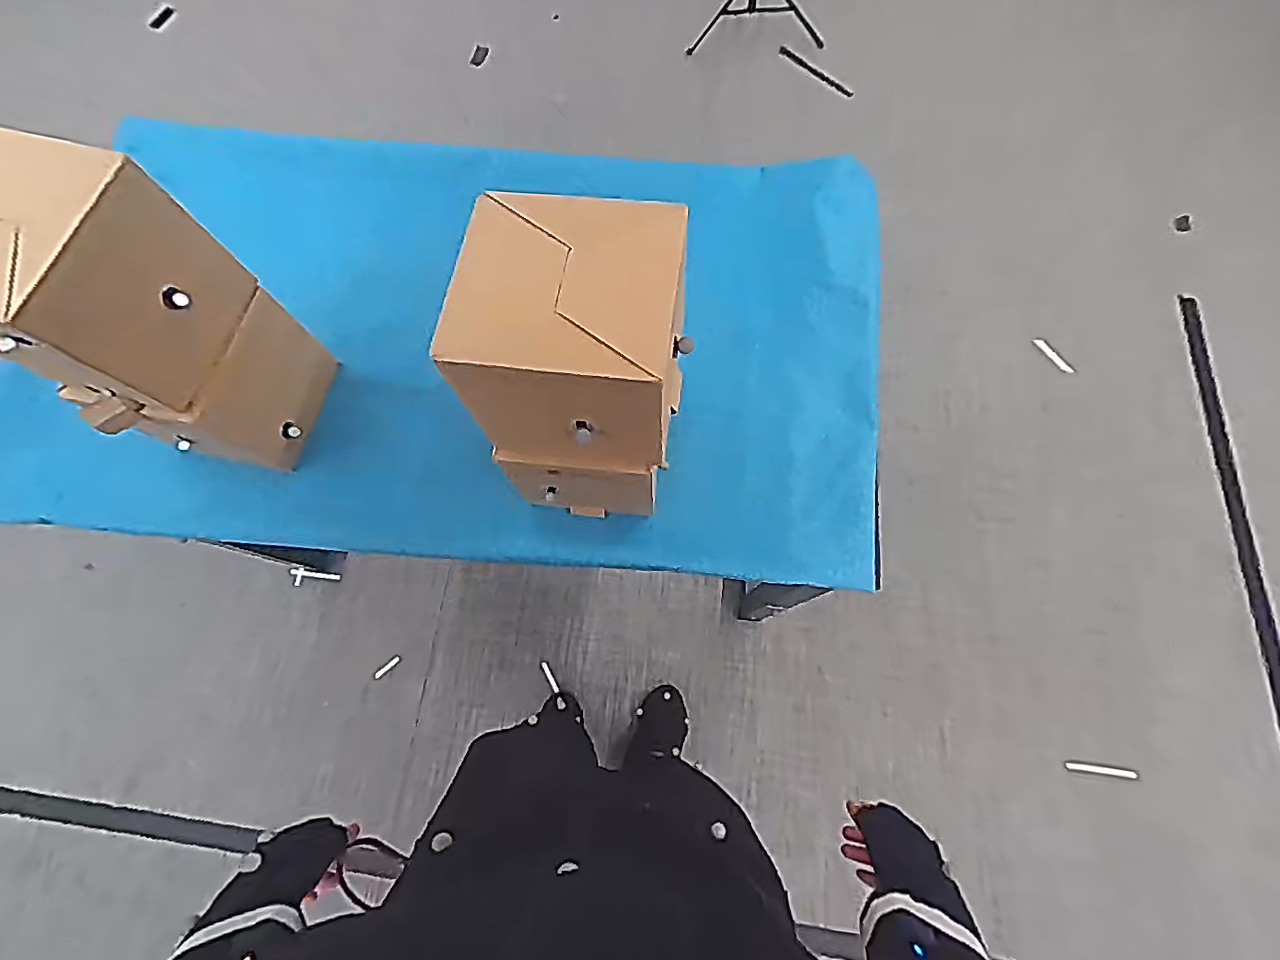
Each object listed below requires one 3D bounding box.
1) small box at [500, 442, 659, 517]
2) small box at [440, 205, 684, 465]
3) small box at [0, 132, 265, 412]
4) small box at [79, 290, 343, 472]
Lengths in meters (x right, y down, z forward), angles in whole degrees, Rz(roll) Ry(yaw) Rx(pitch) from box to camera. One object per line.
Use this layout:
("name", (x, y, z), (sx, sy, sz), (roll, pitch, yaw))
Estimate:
("small box", (-0.057, -0.067, 0.652), (0.168, 0.176, 0.179), (5, 71, 3))
("small box", (-0.054, -0.125, 0.499), (0.179, 0.176, 0.168), (6, 70, 6))
("small box", (-0.531, -0.193, 0.527), (0.168, 0.176, 0.179), (14, 74, 5))
("small box", (-0.523, -0.129, 0.679), (0.168, 0.176, 0.179), (11, 72, 4))
